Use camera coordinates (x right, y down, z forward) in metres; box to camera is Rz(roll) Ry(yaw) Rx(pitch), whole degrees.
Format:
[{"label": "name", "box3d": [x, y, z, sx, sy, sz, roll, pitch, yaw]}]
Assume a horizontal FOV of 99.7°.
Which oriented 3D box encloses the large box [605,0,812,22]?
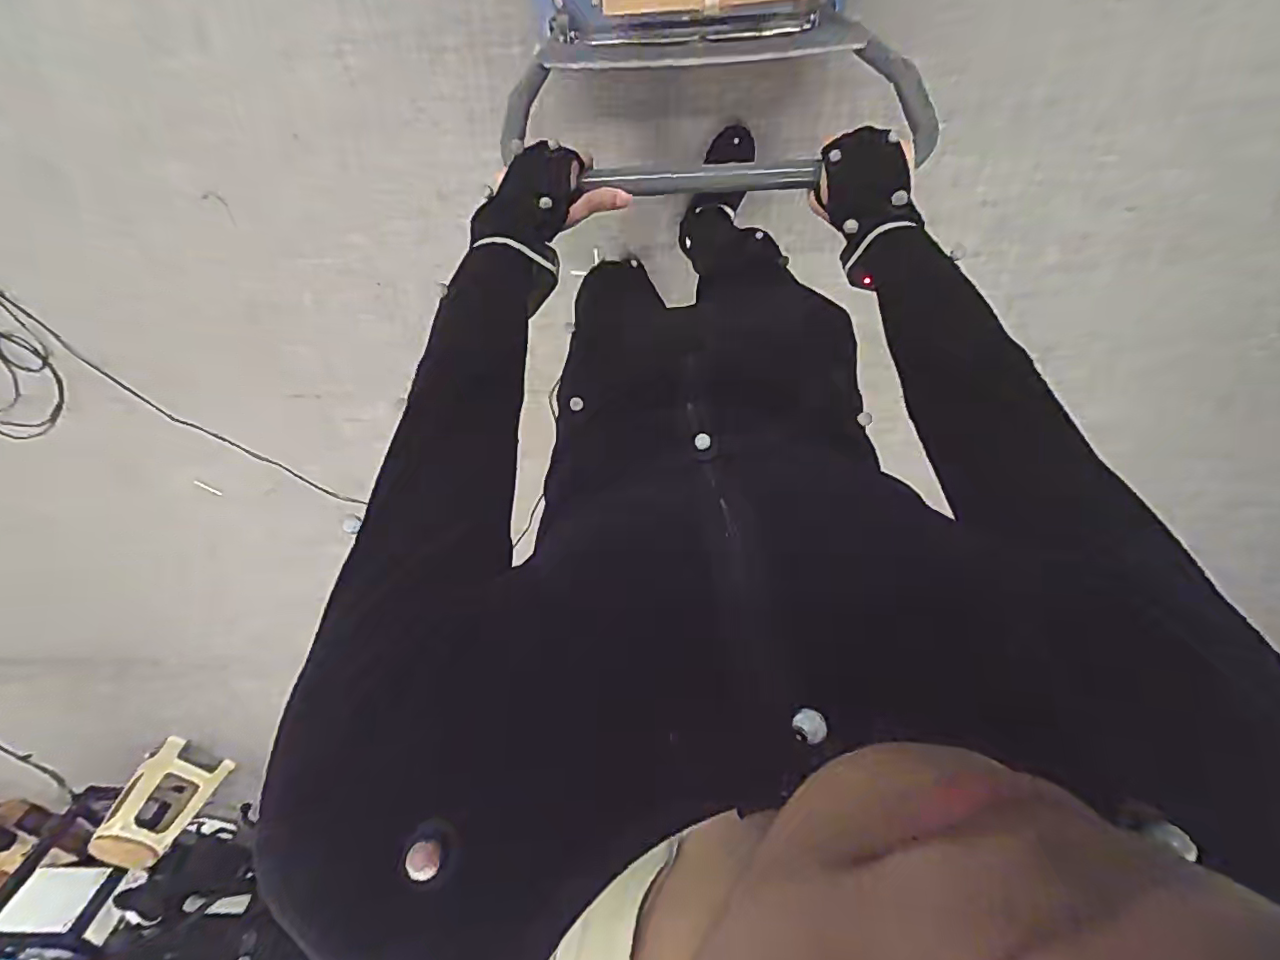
[{"label": "large box", "box3d": [0.096, -0.928, 0.761, 0.320, 0.320, 0.408, -2, 133, 4]}]
